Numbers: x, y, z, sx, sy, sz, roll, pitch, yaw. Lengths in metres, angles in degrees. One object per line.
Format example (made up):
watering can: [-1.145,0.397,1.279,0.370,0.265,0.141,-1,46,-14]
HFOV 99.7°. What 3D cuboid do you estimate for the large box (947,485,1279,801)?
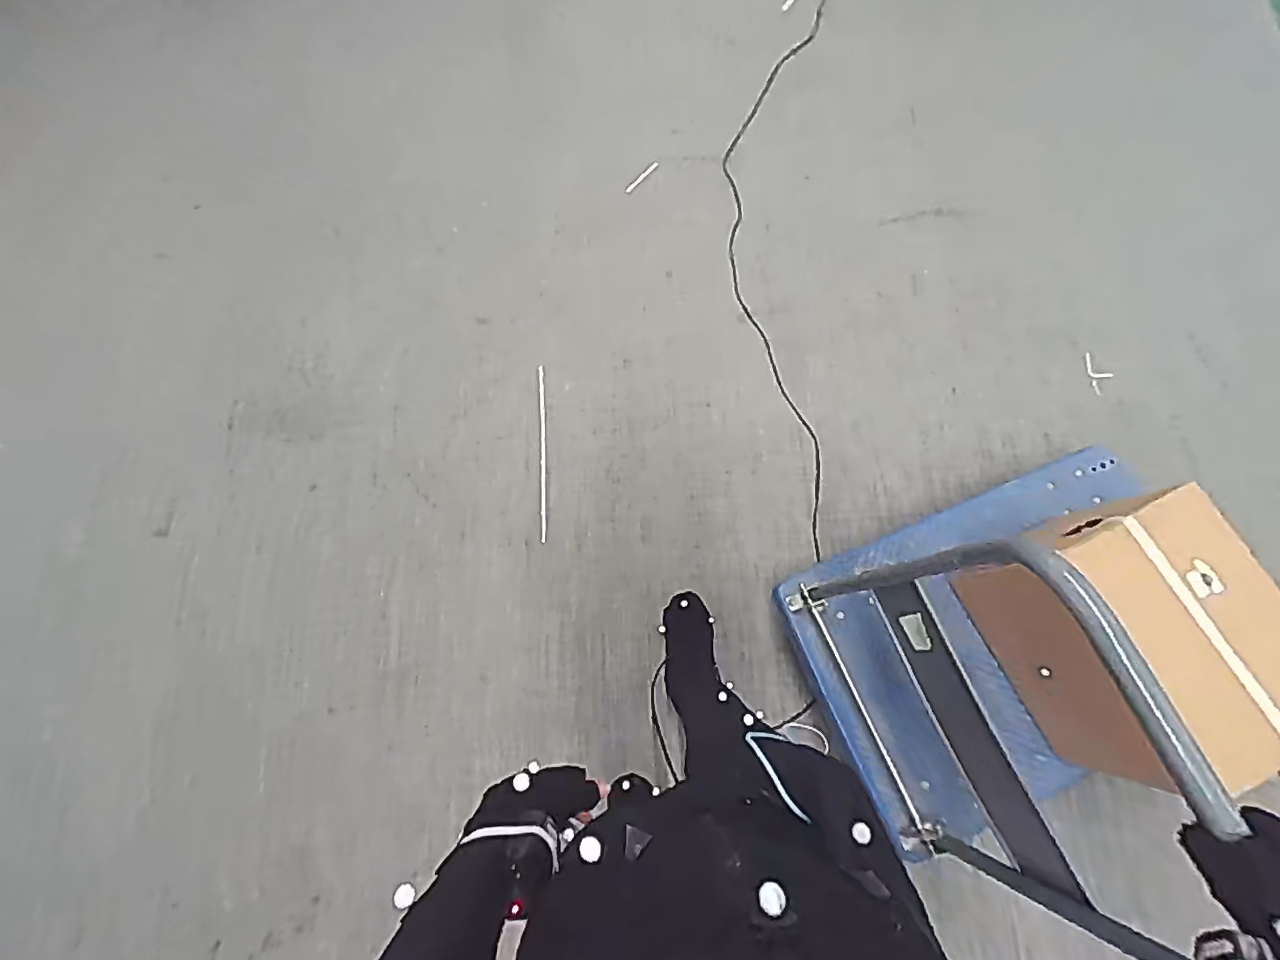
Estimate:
large box: [0.880,0.281,0.998,0.320,0.320,0.408,-25,76,-8]
